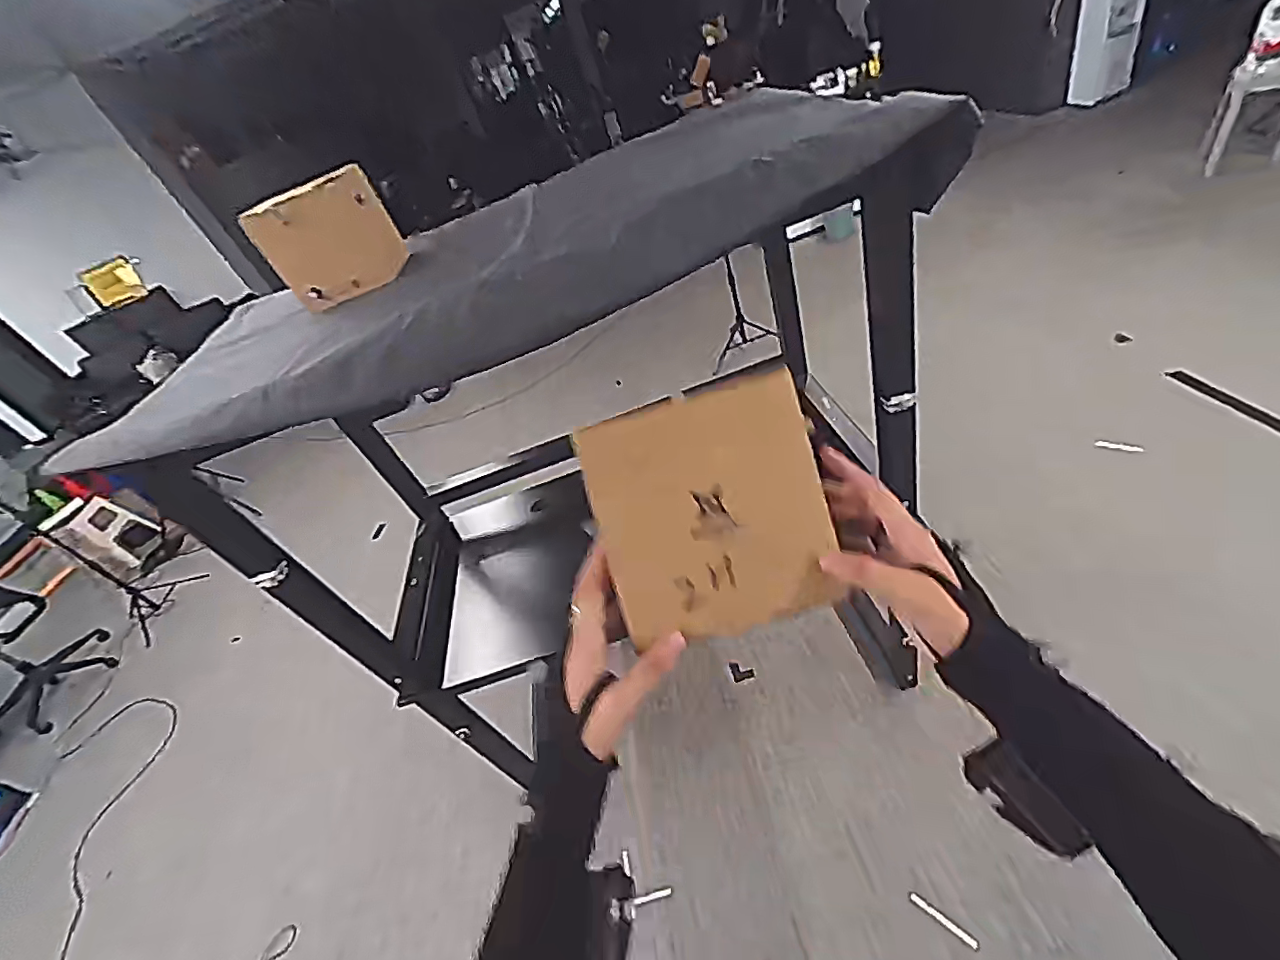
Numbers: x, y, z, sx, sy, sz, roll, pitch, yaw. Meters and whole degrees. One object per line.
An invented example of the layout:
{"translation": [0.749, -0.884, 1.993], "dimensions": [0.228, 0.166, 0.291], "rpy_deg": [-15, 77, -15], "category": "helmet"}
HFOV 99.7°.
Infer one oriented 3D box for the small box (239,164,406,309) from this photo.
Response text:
{"translation": [-0.543, -0.425, 0.957], "dimensions": [0.168, 0.176, 0.179], "rpy_deg": [-20, 38, 5], "category": "small box"}
